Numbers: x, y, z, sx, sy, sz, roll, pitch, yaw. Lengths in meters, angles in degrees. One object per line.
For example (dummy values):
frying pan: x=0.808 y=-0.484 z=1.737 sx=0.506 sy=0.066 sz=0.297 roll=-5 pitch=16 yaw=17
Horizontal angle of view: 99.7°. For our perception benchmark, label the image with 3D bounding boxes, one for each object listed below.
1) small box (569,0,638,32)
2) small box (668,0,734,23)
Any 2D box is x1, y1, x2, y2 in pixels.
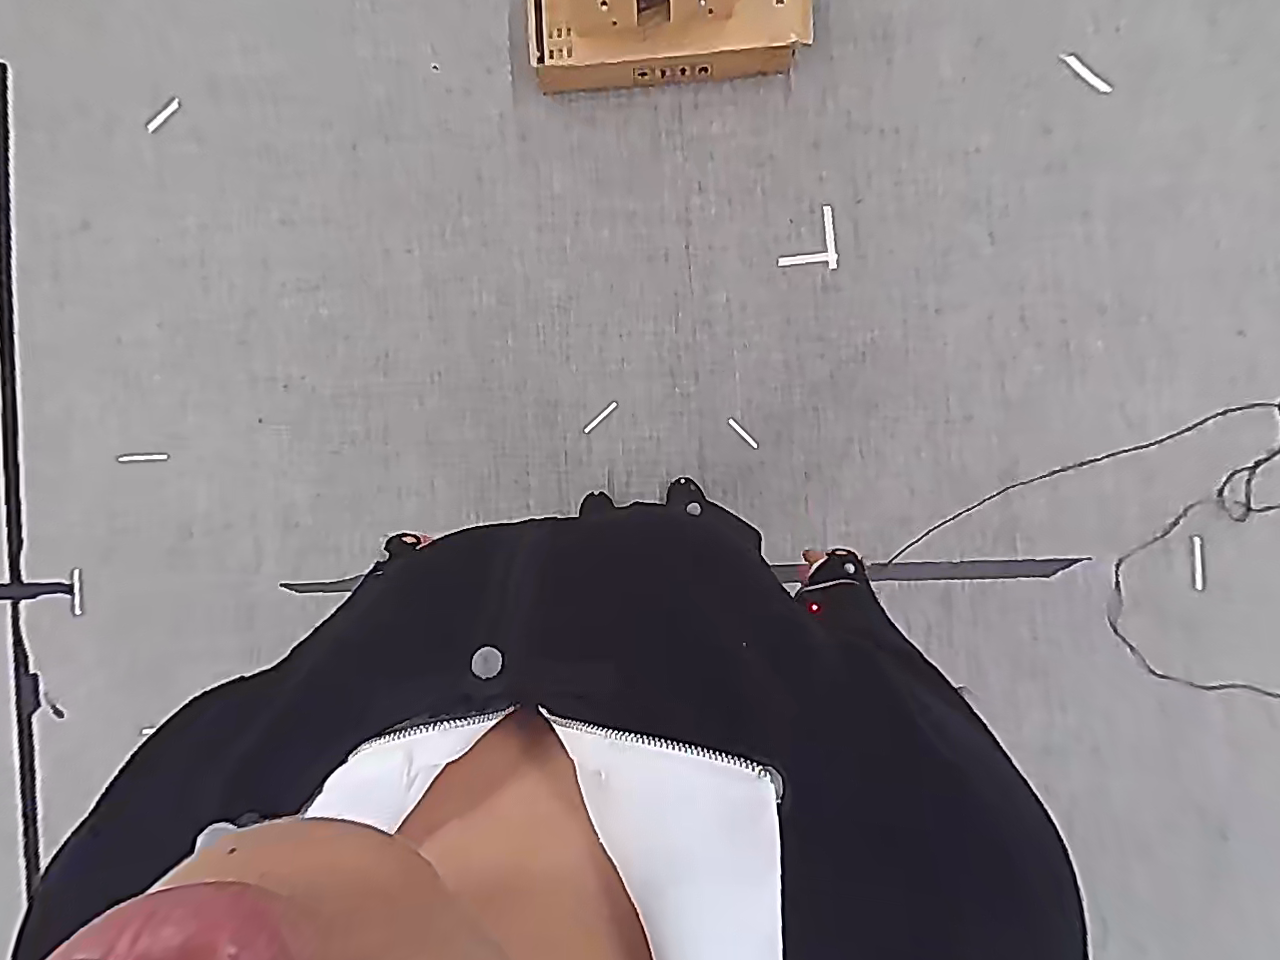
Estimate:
small box: x=-0.098 y=-1.258 z=1.338 sx=0.168 sy=0.176 sz=0.179 roll=-5 pitch=89 yaw=3
small box: x=0.149 y=-1.279 z=1.325 sx=0.168 sy=0.176 sz=0.179 roll=-4 pitch=88 yaw=4
